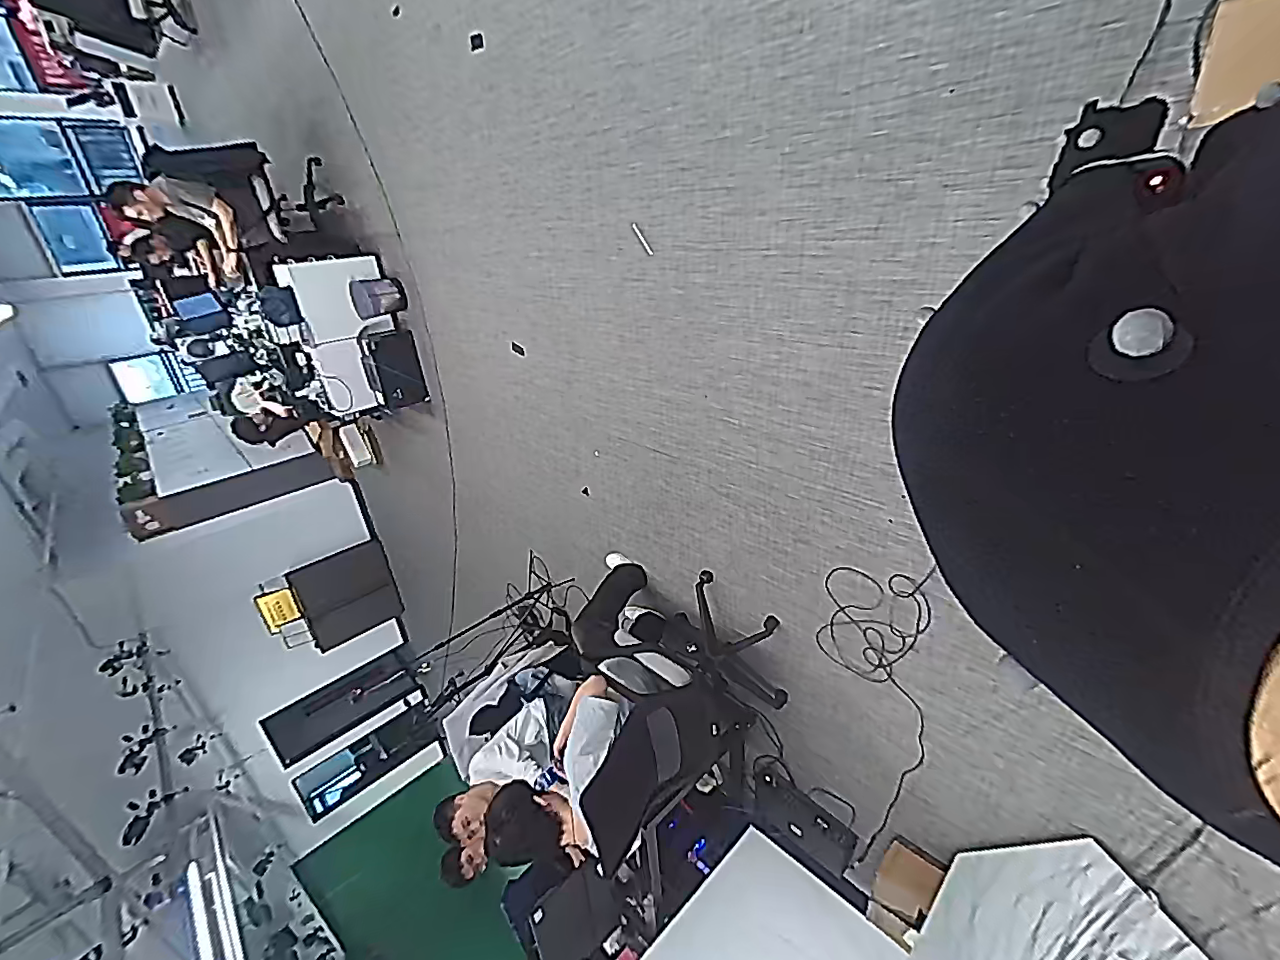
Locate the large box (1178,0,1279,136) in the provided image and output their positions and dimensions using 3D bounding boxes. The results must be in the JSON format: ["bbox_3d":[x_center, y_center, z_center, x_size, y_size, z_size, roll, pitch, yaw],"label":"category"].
[{"bbox_3d":[1.010,-0.647,0.674,0.408,0.320,0.320,20,125,44],"label":"large box"}]
